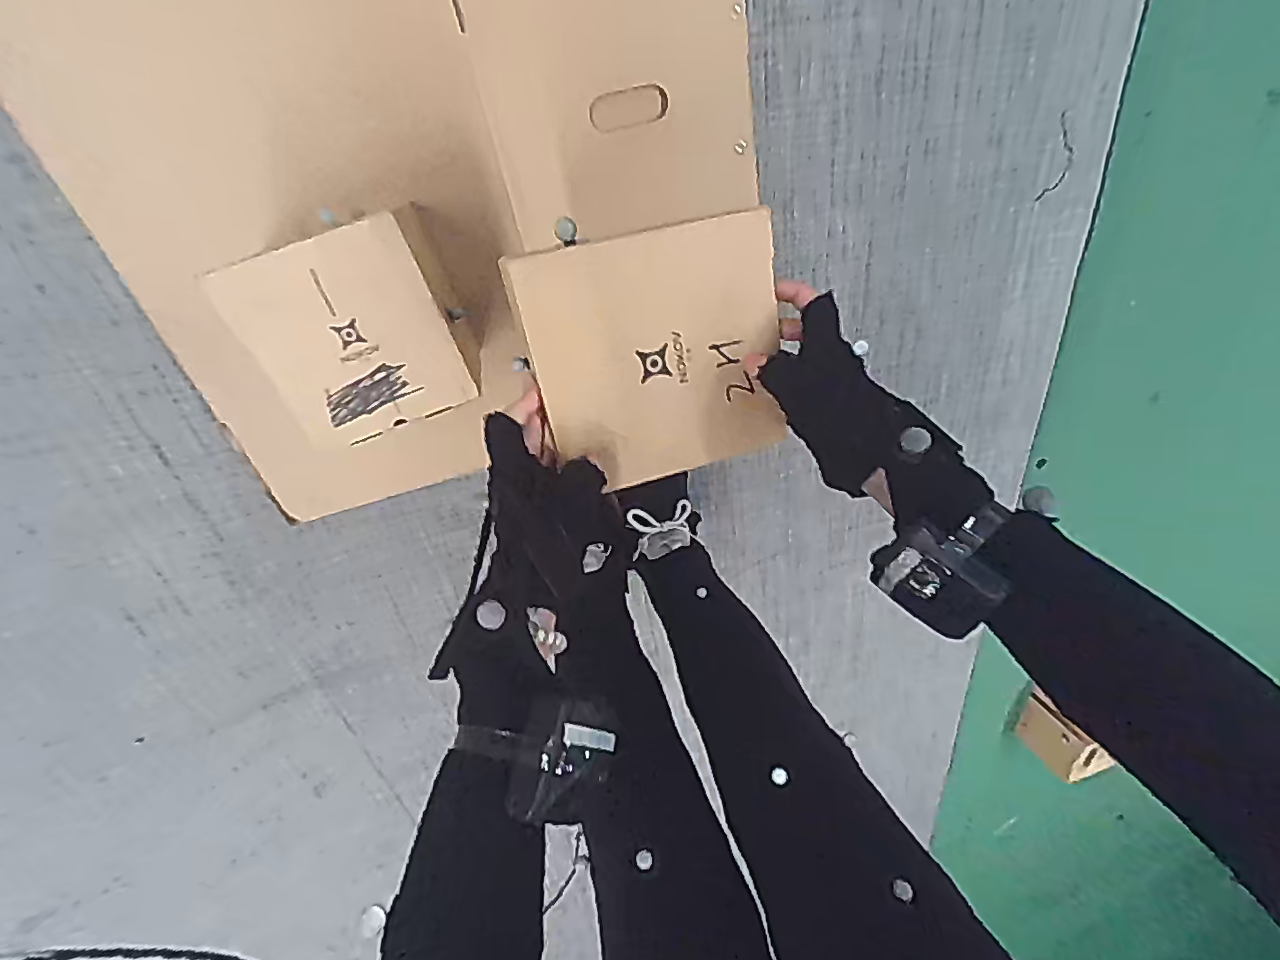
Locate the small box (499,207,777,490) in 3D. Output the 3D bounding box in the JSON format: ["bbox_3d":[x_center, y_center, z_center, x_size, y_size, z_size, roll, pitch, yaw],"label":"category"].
[{"bbox_3d":[-0.009,-0.114,0.444,0.179,0.176,0.168,-15,115,-10],"label":"small box"}]

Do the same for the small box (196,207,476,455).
[{"bbox_3d":[-0.277,-0.158,0.549,0.168,0.176,0.179,-22,122,-4],"label":"small box"}]
